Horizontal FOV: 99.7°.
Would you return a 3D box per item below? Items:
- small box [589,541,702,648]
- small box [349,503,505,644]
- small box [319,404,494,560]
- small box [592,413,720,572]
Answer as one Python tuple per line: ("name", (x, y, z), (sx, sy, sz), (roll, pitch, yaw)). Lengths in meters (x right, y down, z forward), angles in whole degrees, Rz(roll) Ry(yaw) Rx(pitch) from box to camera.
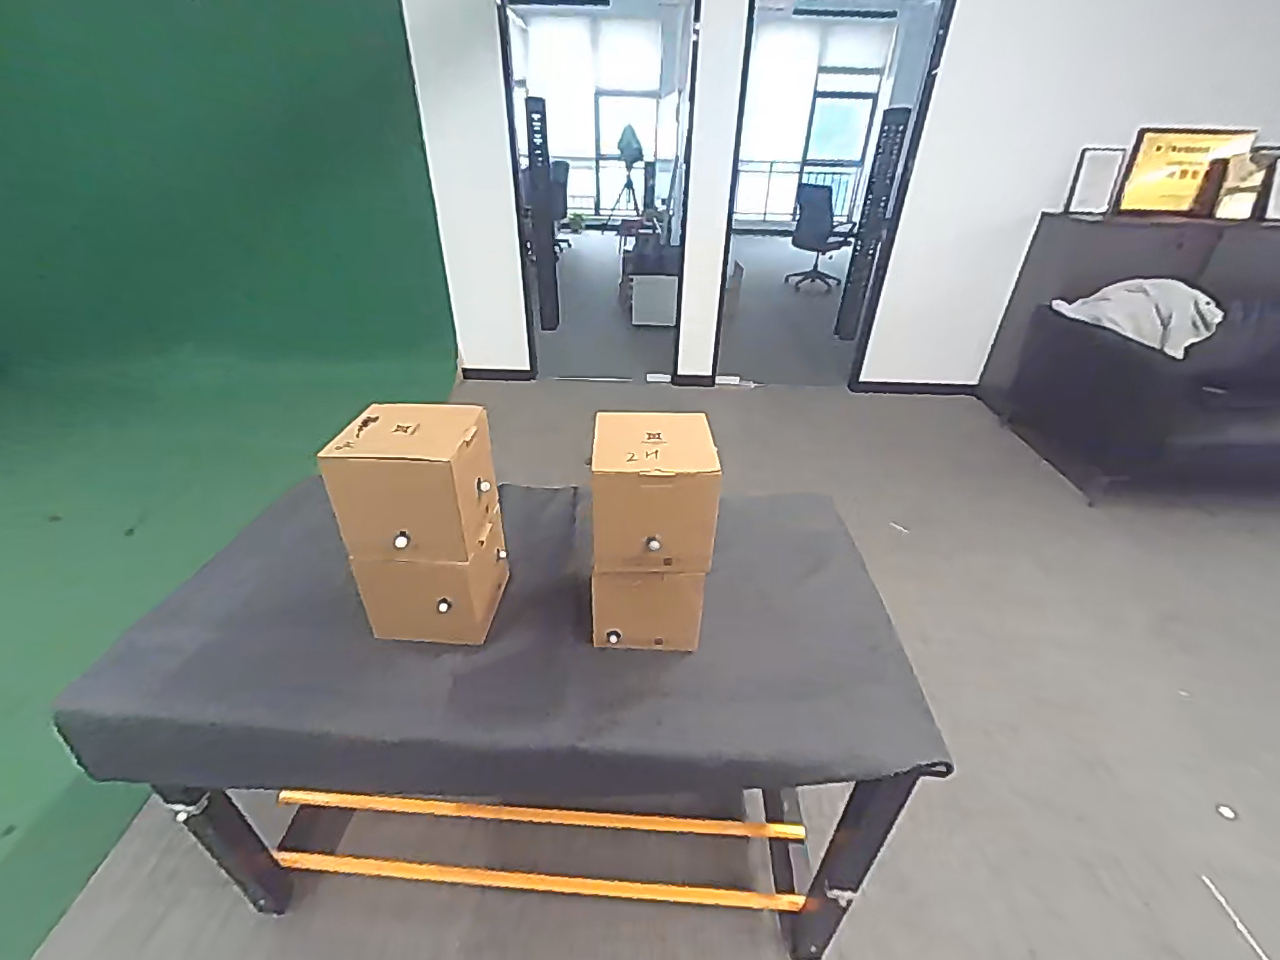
("small box", (0.010, 0.154, 0.882), (0.168, 0.176, 0.179), (2, 31, 0))
("small box", (-0.327, 0.147, 0.876), (0.179, 0.176, 0.168), (2, 31, 1))
("small box", (-0.324, 0.003, 0.796), (0.179, 0.176, 0.168), (3, 31, 0))
("small box", (0.016, 0.015, 0.793), (0.168, 0.176, 0.179), (0, 32, -2))
